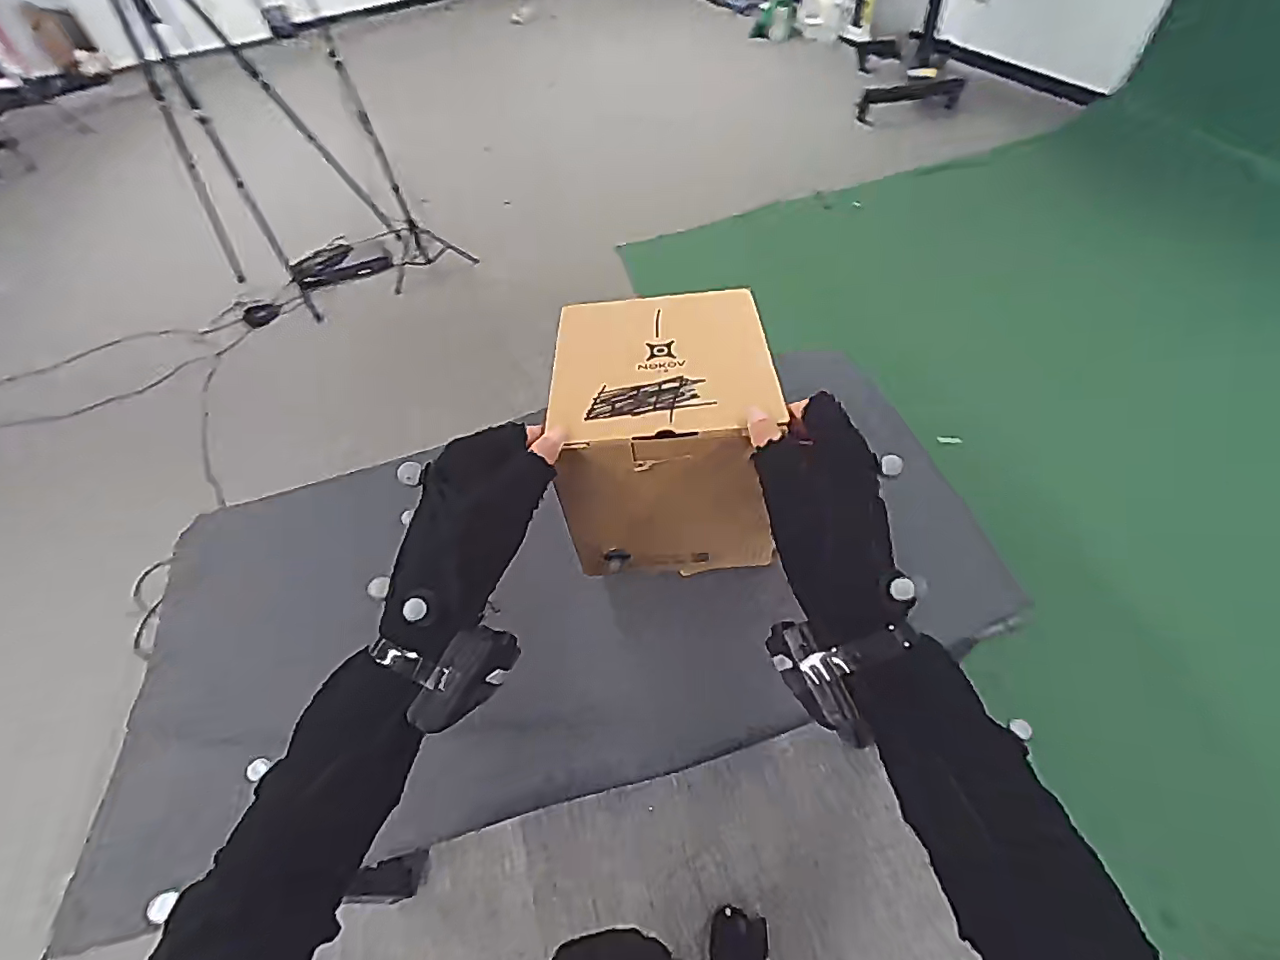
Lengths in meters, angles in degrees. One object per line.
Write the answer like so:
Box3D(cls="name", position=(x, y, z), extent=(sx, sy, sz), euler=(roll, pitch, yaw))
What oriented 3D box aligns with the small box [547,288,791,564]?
Box3D(cls="small box", position=(0.028, -0.038, 0.466), extent=(0.168, 0.176, 0.179), euler=(-4, 48, 4))
